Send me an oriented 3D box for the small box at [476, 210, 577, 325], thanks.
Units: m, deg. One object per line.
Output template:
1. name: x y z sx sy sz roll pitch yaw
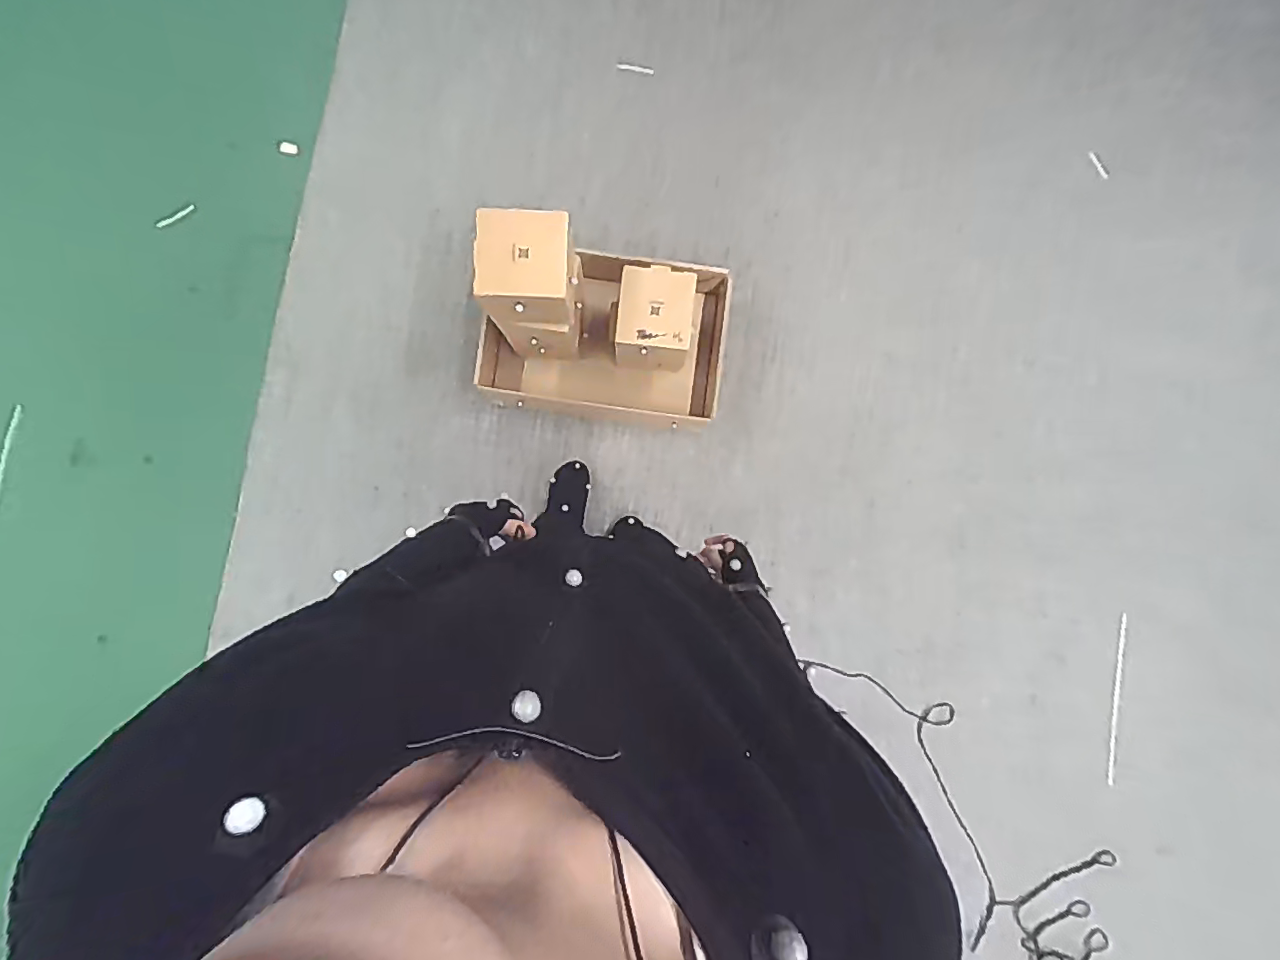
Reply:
1. small box: -0.221 -0.422 1.096 0.179 0.176 0.168 1 89 -1

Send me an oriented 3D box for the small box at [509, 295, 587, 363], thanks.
1. small box: -0.236 -0.414 1.423 0.179 0.176 0.168 5 88 -4

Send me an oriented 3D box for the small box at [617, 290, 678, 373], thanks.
1. small box: 0.033 -0.385 1.426 0.179 0.176 0.168 3 87 -1

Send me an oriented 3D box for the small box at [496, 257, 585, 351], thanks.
1. small box: -0.223 -0.412 1.258 0.168 0.176 0.179 9 88 -2

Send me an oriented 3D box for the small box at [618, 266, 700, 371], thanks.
1. small box: 0.039 -0.370 1.261 0.168 0.176 0.179 7 86 0
